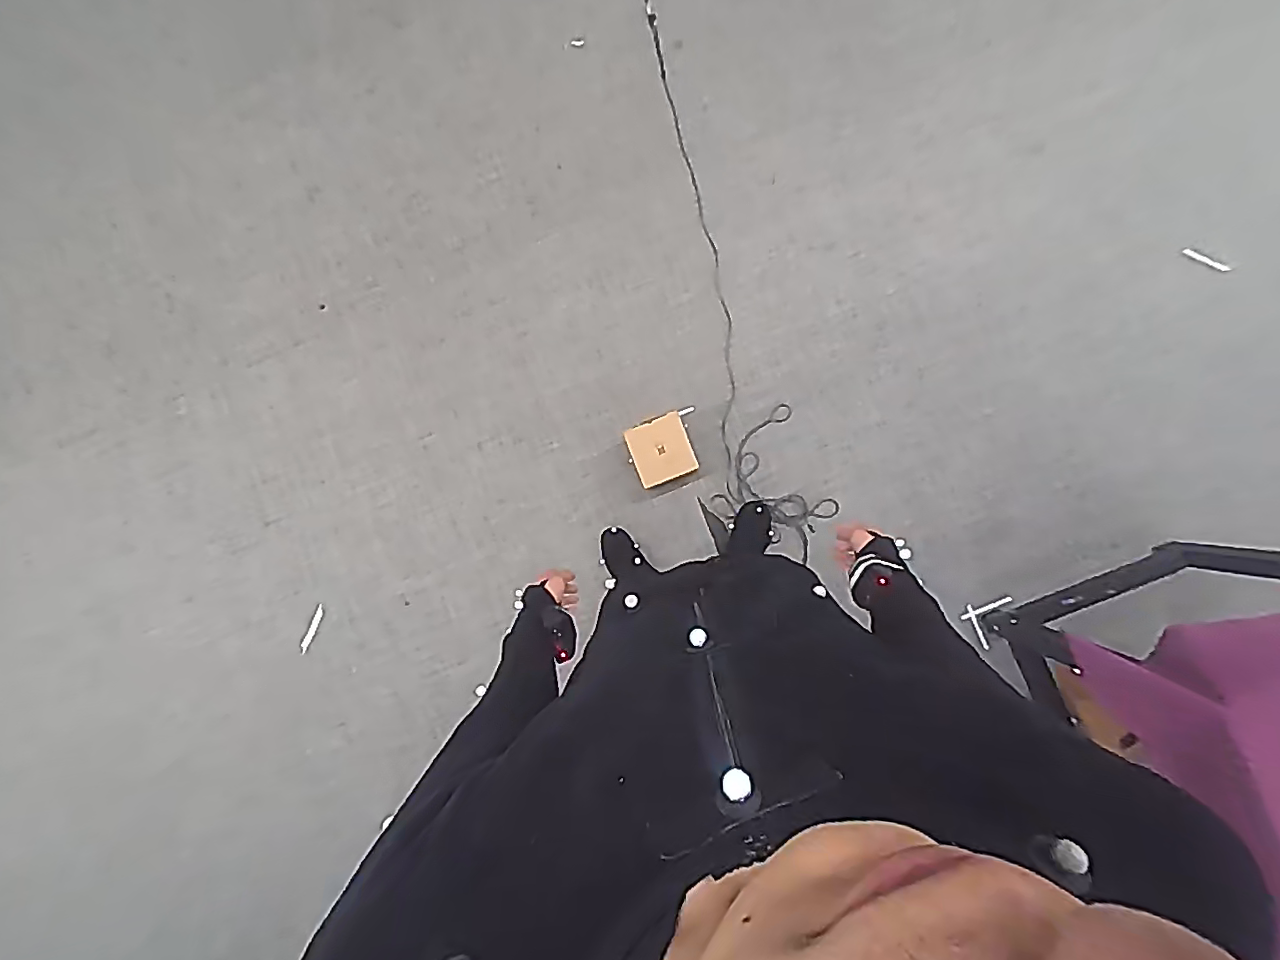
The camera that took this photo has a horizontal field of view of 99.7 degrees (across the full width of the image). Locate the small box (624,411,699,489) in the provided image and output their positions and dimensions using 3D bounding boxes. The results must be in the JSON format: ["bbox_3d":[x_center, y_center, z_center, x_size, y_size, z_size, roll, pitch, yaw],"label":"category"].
[{"bbox_3d":[0.063,-0.081,1.578,0.168,0.176,0.179,-21,87,4],"label":"small box"}]
